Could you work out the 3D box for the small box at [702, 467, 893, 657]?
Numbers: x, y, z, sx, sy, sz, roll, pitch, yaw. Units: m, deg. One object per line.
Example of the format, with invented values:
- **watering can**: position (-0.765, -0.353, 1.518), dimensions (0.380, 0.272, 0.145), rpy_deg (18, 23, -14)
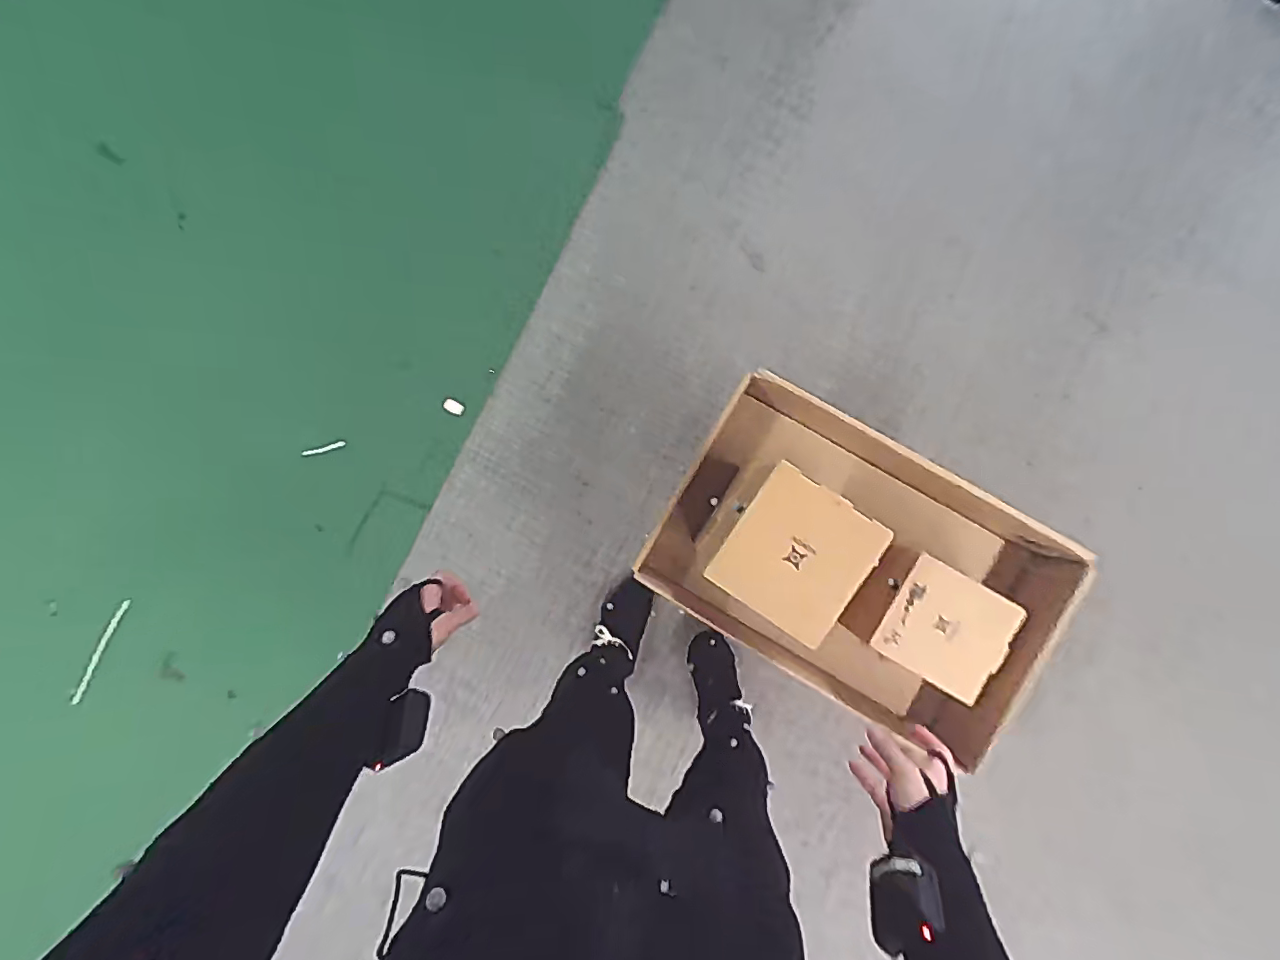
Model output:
- **small box**: position (0.198, 0.104, 0.736), dimensions (0.168, 0.176, 0.179), rpy_deg (34, 89, 4)
